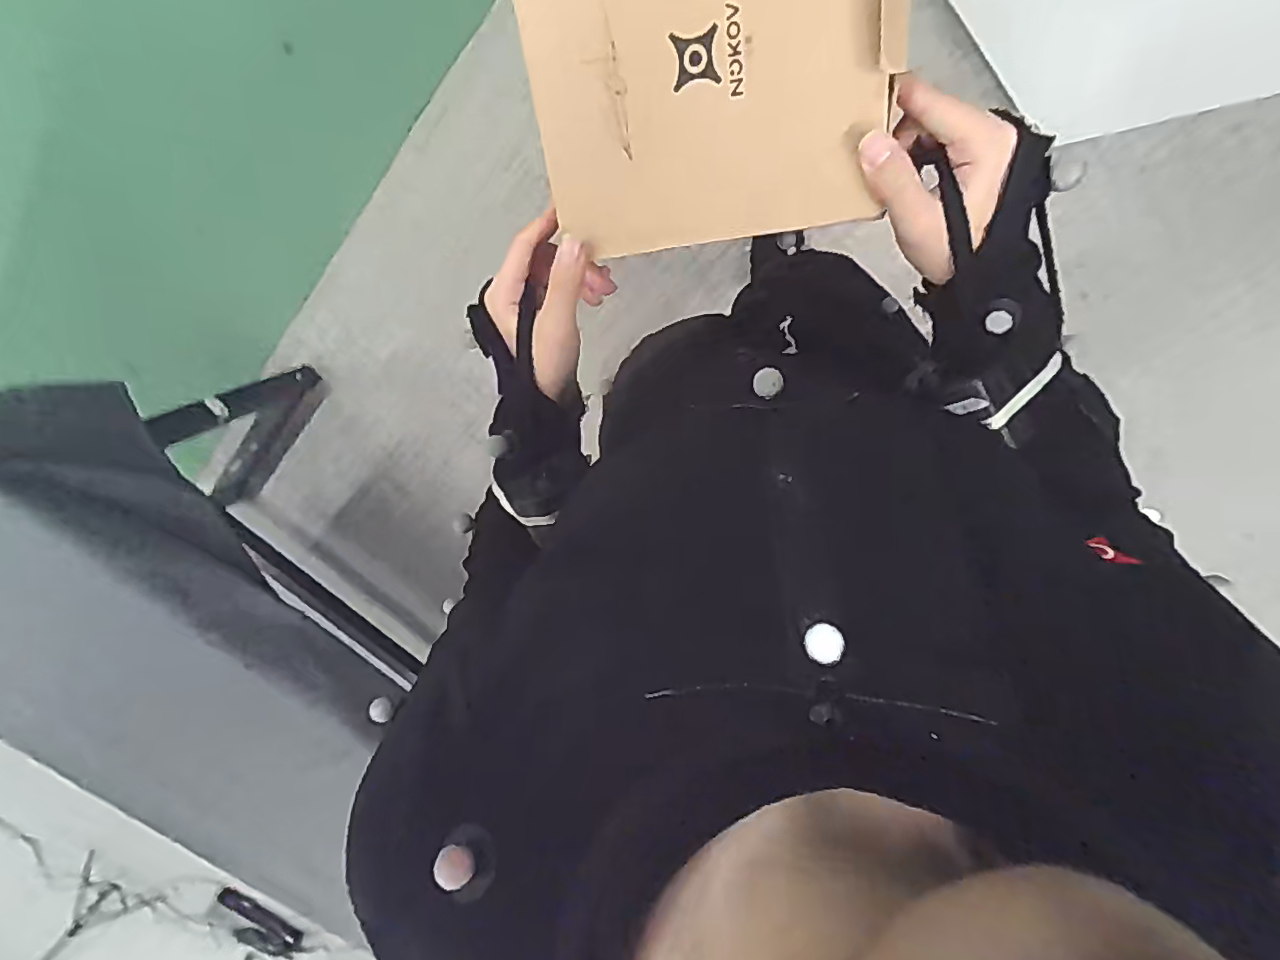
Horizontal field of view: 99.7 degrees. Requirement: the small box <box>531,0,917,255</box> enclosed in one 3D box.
[{"bbox_3d":[0.049,-0.241,0.324,0.179,0.176,0.168,-4,116,11],"label":"small box"}]
